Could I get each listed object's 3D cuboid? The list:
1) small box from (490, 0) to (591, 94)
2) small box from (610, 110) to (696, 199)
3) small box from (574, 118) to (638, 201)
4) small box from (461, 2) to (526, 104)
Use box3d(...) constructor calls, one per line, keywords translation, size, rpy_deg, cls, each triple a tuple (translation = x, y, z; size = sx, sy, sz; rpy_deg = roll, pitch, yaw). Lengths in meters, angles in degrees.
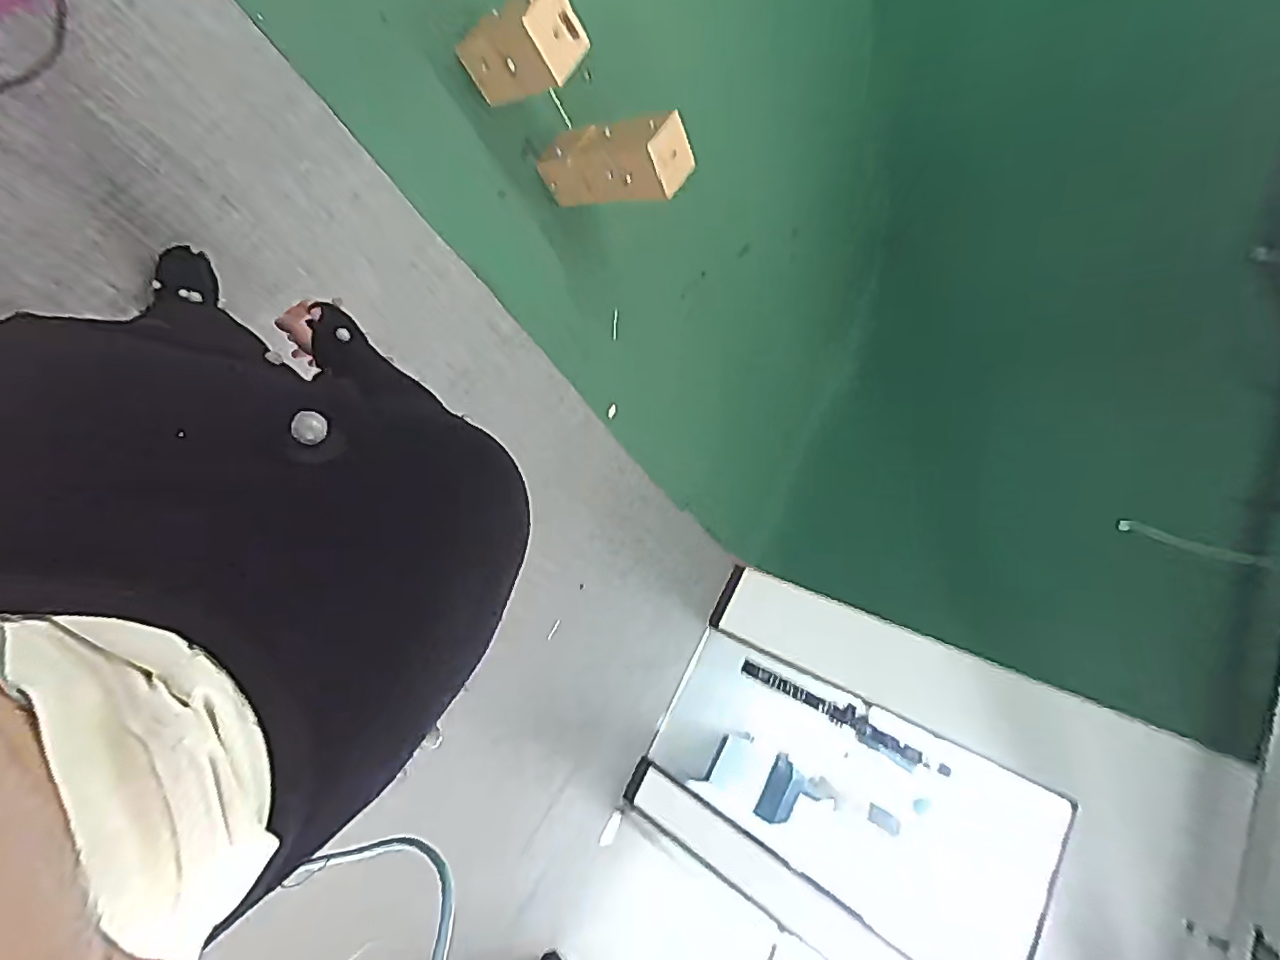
box3d(translation=(-0.271, -1.188, 1.457), size=(0.179, 0.176, 0.168), rpy_deg=(-61, 141, -12), cls="small box")
box3d(translation=(0.040, -0.989, 1.652), size=(0.179, 0.176, 0.168), rpy_deg=(-57, 141, -17), cls="small box")
box3d(translation=(-0.081, -1.034, 1.755), size=(0.179, 0.176, 0.168), rpy_deg=(-58, 141, -17), cls="small box")
box3d(translation=(-0.387, -1.231, 1.566), size=(0.179, 0.176, 0.168), rpy_deg=(-60, 141, -15), cls="small box")
